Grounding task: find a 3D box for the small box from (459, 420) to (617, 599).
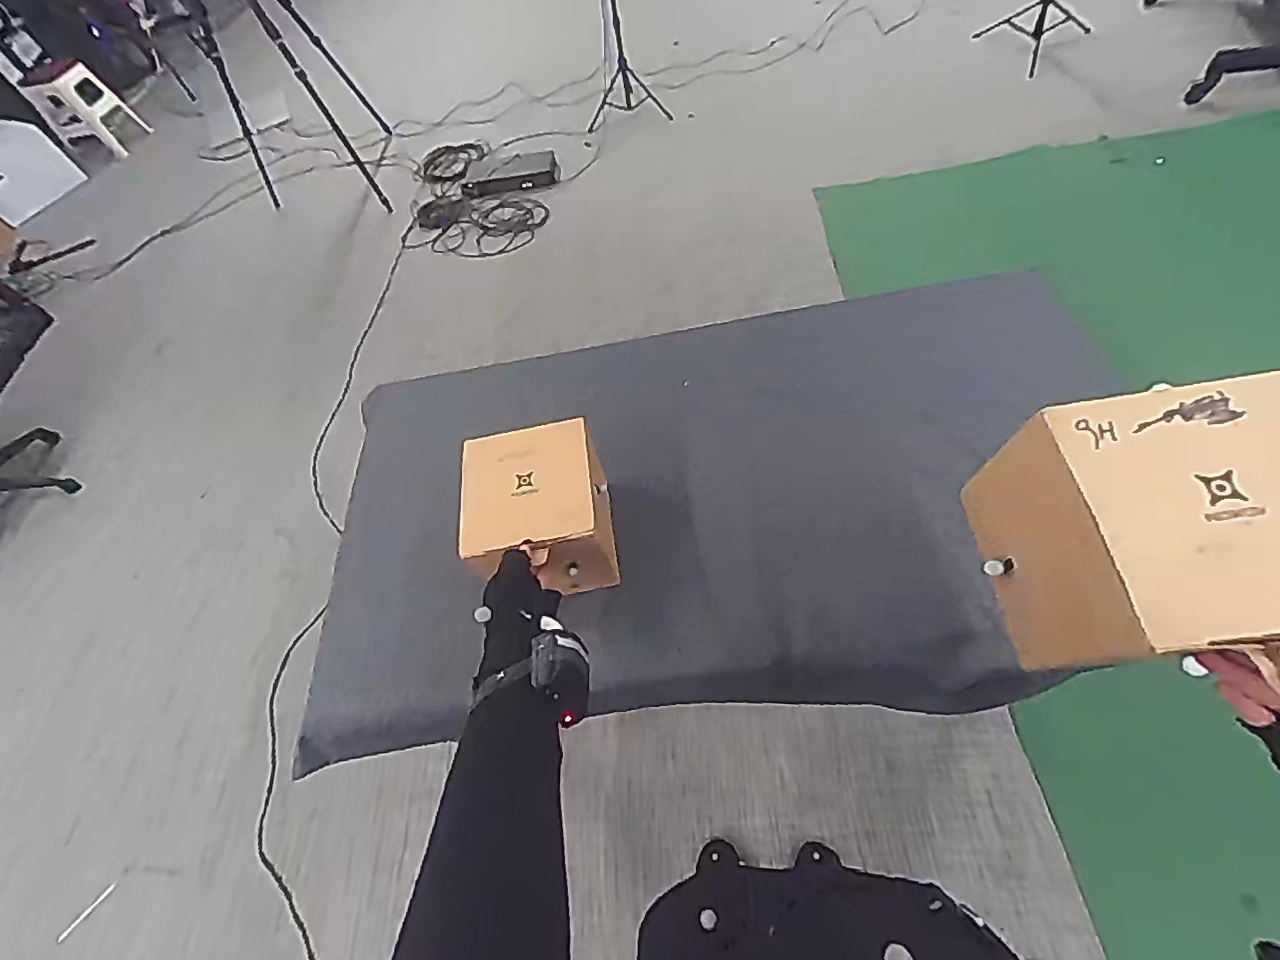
[{"bbox_3d":[-0.131,0.049,0.736,0.168,0.176,0.179,-11,55,1],"label":"small box"}]
